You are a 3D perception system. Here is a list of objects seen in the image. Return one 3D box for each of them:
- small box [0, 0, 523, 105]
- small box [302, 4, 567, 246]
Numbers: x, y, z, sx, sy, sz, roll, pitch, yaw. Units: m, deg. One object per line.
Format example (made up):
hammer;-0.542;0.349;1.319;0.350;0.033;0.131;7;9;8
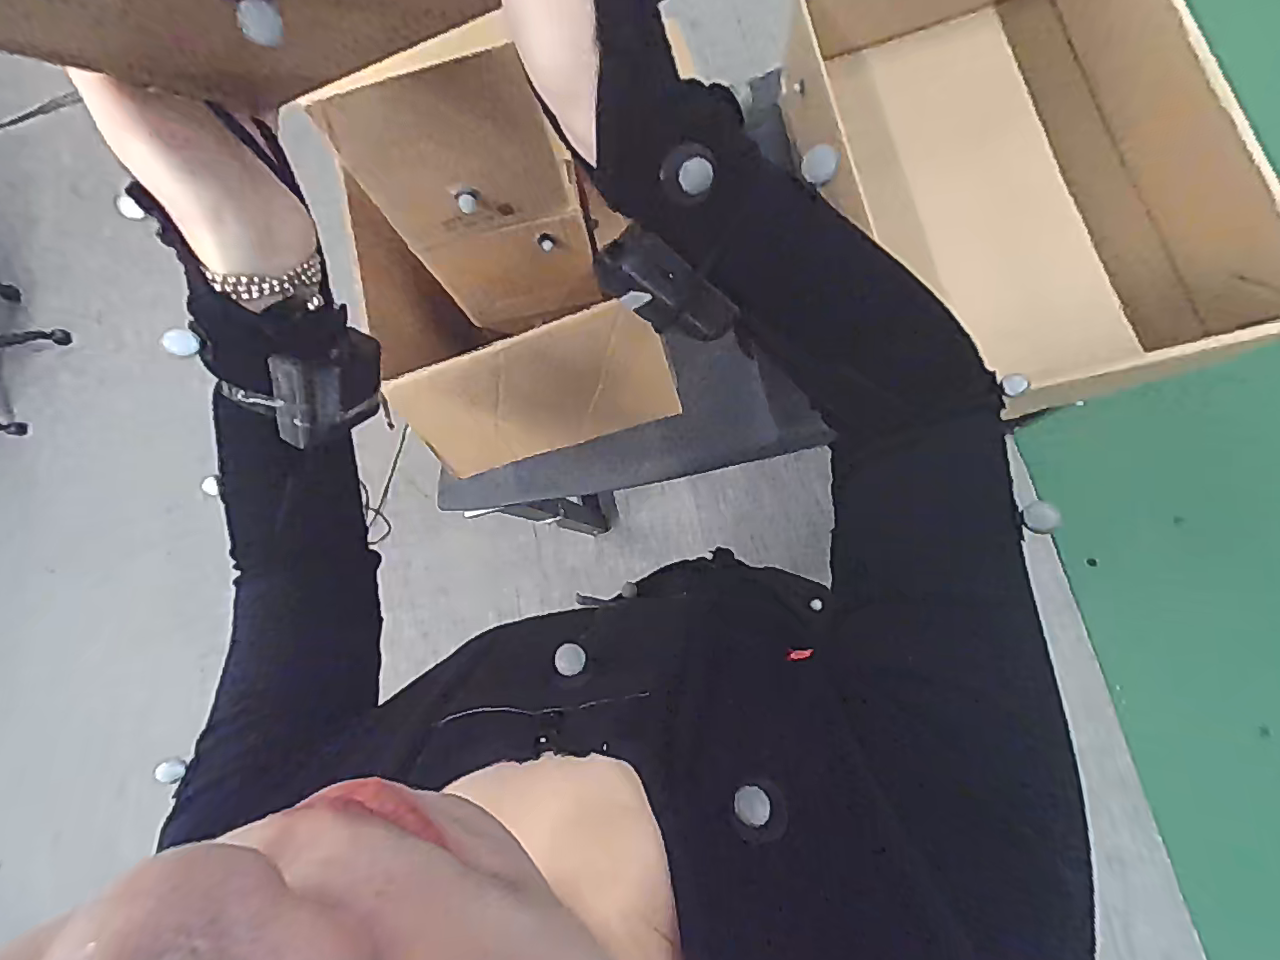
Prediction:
small box;-0.146;-0.252;0.175;0.179;0.176;0.168;-16;117;10
small box;-0.174;-0.345;0.474;0.168;0.176;0.179;-15;77;2
